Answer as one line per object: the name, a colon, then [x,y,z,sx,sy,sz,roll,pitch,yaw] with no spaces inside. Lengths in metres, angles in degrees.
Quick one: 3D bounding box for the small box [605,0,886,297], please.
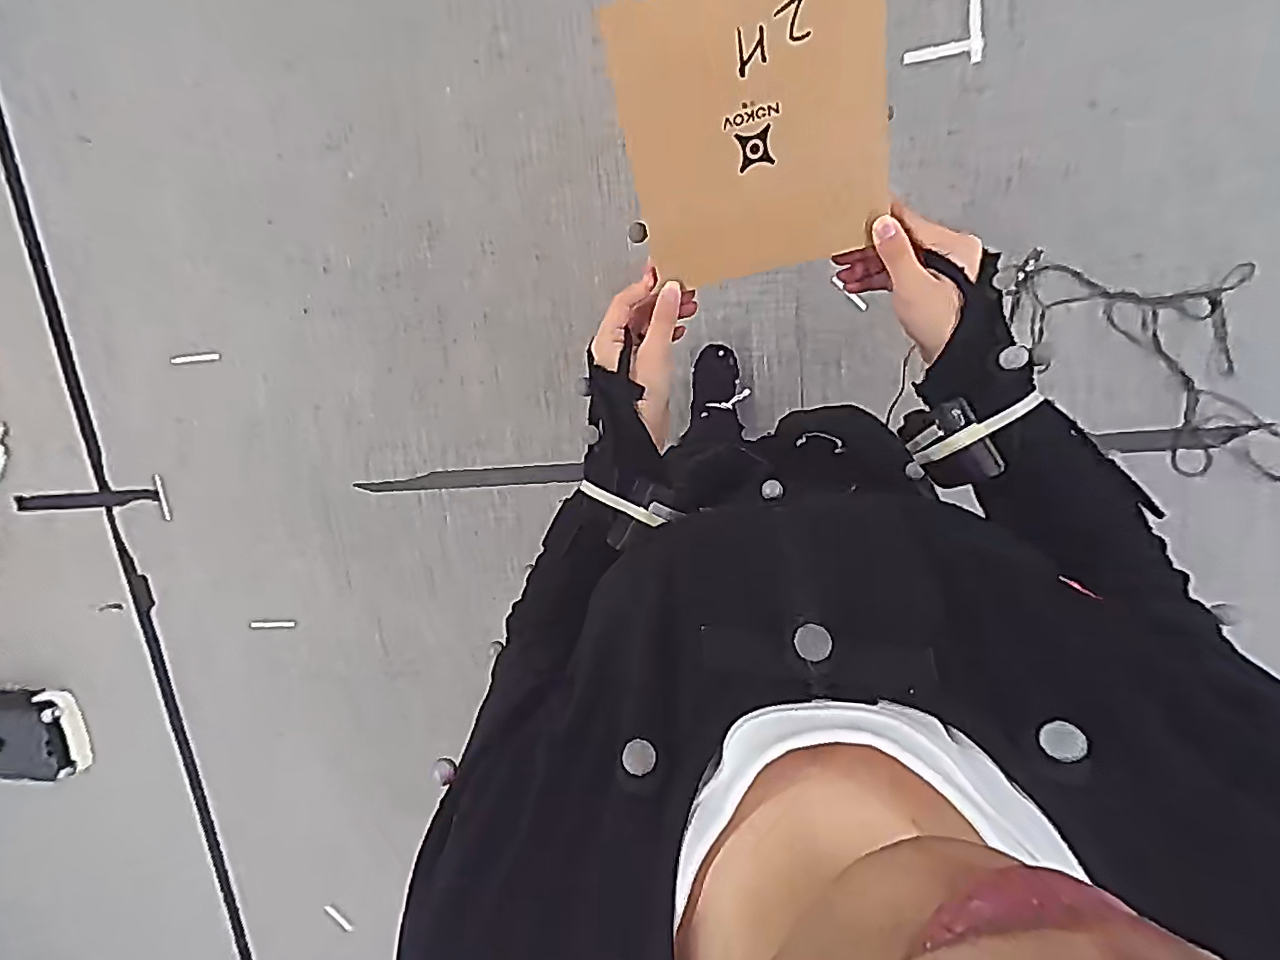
small box: [0.082,-0.264,0.424,0.168,0.176,0.179,-10,118,10]
